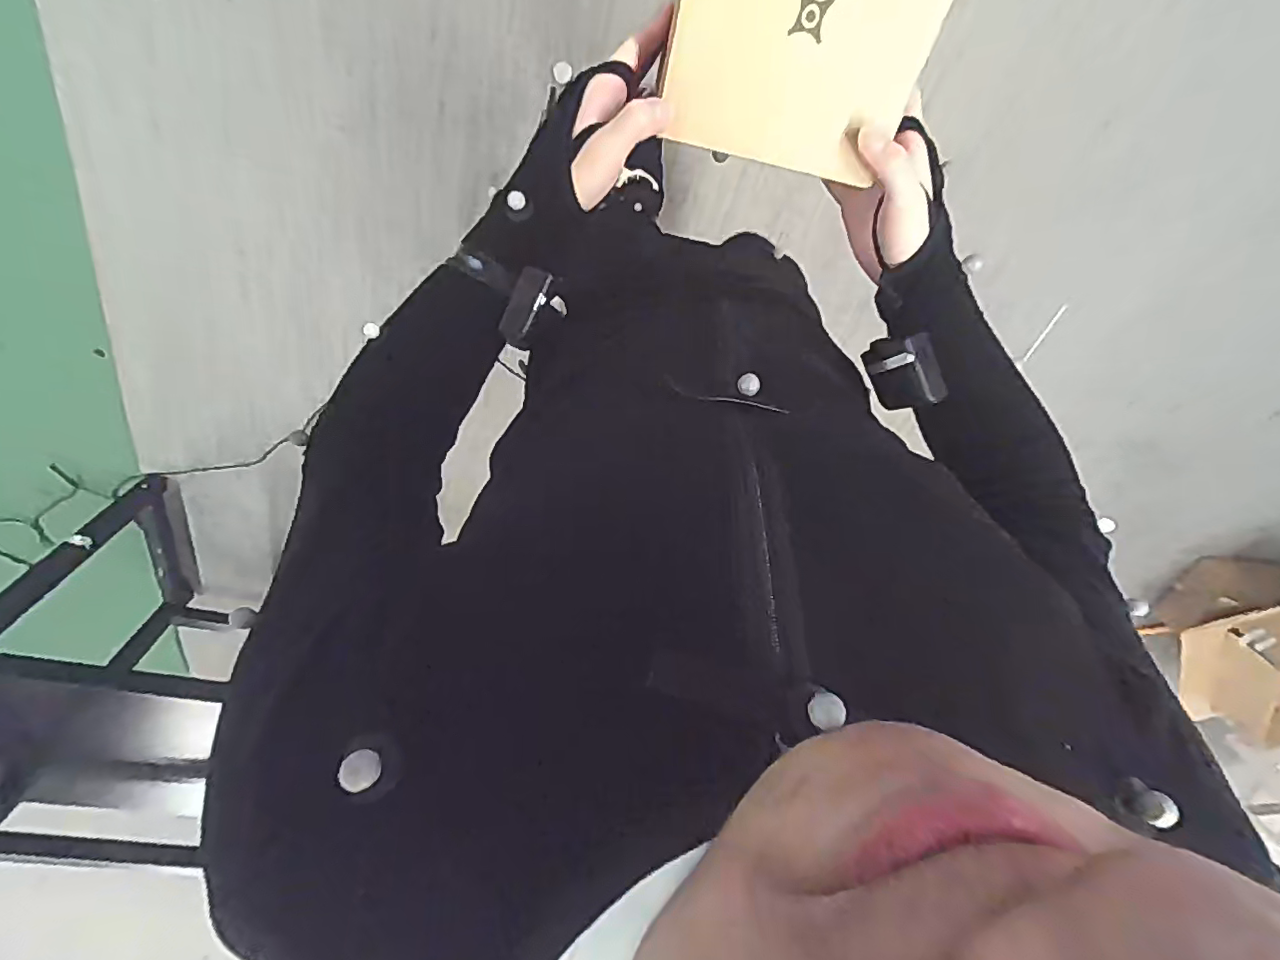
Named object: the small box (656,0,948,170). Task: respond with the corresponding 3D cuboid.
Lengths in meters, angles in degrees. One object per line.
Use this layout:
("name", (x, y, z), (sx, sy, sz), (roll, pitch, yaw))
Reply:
("small box", (0.110, -0.353, 0.390), (0.168, 0.176, 0.179), (10, 128, -7))
